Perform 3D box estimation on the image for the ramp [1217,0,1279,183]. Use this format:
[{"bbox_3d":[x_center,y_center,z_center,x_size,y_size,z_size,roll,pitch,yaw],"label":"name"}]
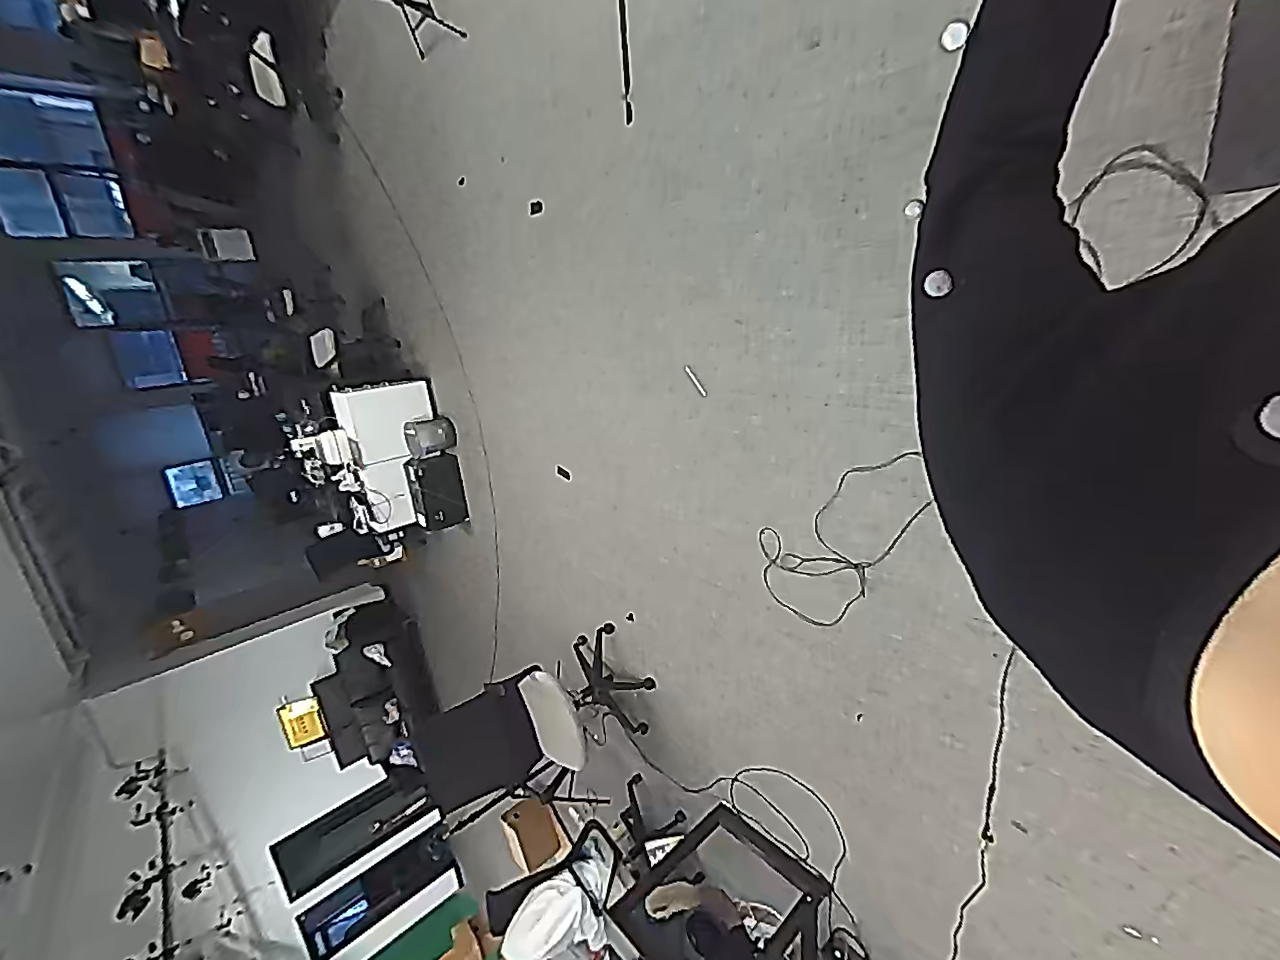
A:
[{"bbox_3d":[1.080,-0.936,0.597,0.509,0.206,0.991,11,114,47],"label":"ramp"}]
